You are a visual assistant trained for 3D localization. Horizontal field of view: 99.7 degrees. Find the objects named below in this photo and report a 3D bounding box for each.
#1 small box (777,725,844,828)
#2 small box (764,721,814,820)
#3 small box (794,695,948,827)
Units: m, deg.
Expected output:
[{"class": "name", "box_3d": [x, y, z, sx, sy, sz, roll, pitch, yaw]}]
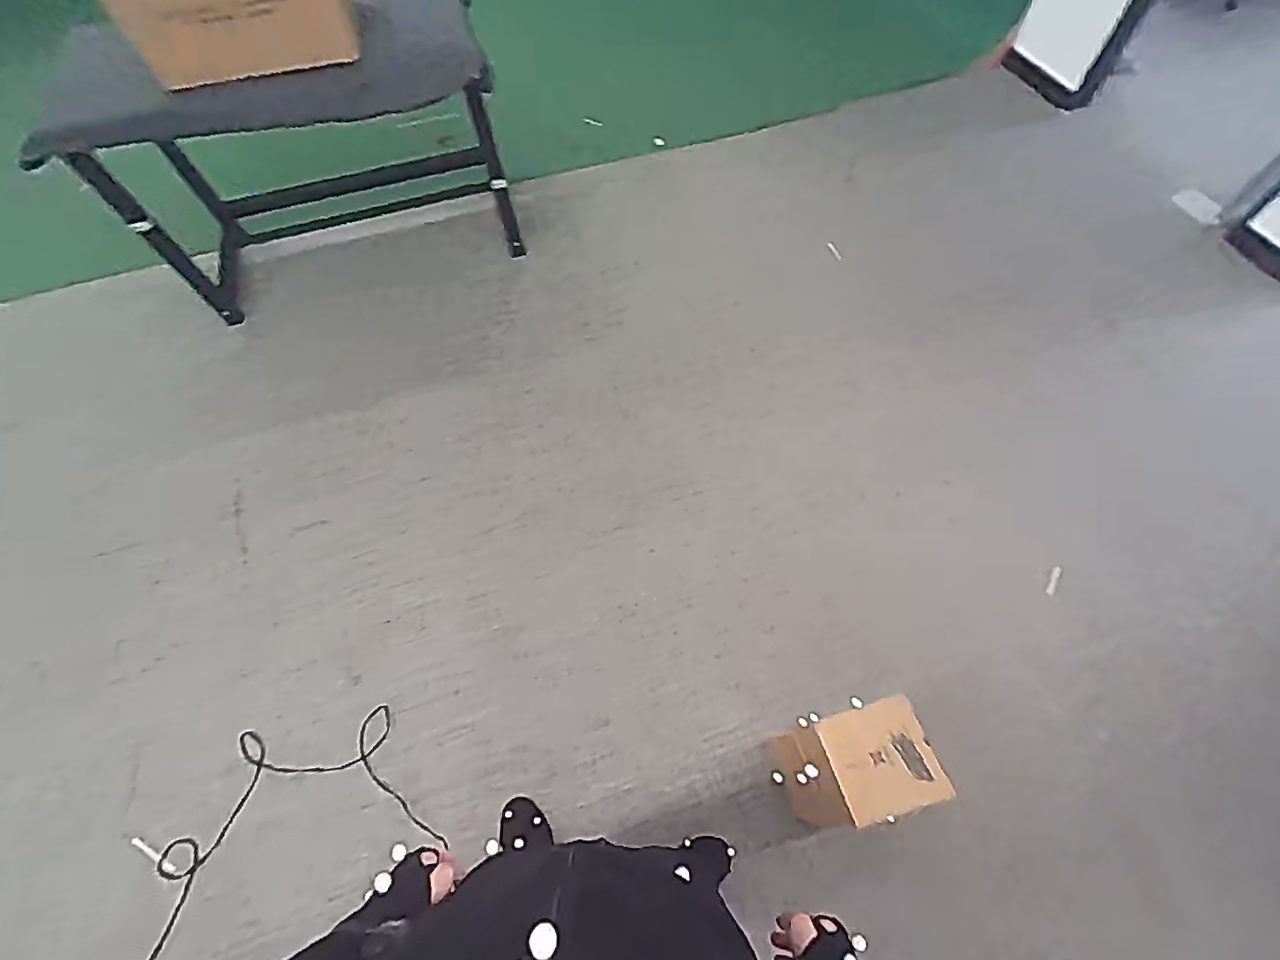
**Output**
[{"class": "small box", "box_3d": [0.405, 0.591, 1.124, 0.168, 0.176, 0.179, -17, 66, -7]}, {"class": "small box", "box_3d": [0.409, 0.666, 1.266, 0.168, 0.176, 0.179, -15, 63, -7]}, {"class": "small box", "box_3d": [0.405, 0.504, 0.982, 0.179, 0.176, 0.168, -15, 62, -5]}]
